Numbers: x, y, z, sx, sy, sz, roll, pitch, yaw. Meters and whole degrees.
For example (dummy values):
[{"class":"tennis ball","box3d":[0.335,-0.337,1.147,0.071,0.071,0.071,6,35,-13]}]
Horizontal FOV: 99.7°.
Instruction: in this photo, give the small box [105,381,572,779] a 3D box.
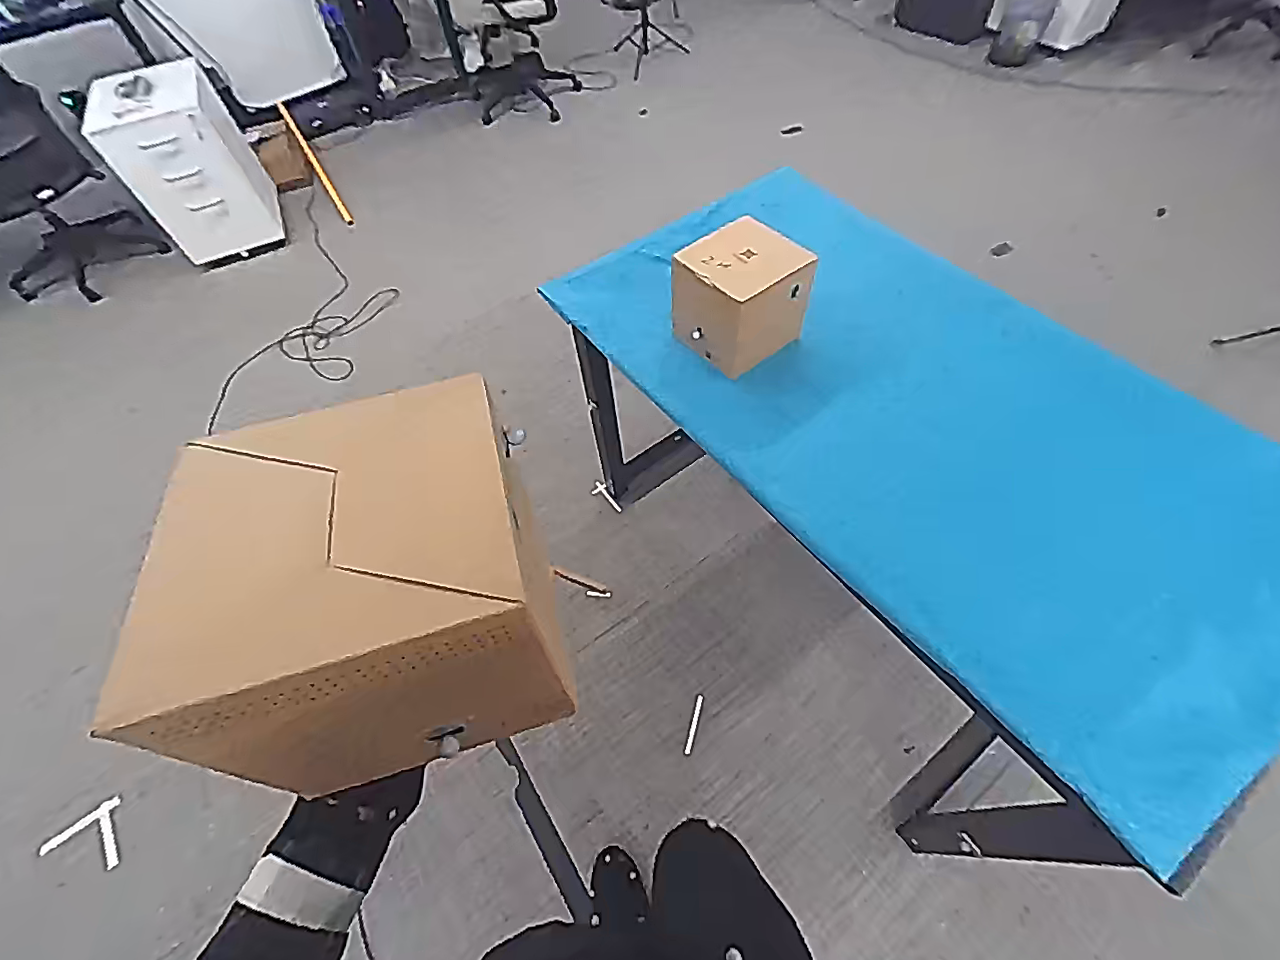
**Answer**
[{"class":"small box","box3d":[-0.156,0.061,0.339,0.179,0.176,0.168,-15,52,-7]}]

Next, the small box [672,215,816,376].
[{"class":"small box","box3d":[0.172,-0.317,0.940,0.179,0.176,0.168,-32,60,-13]}]
